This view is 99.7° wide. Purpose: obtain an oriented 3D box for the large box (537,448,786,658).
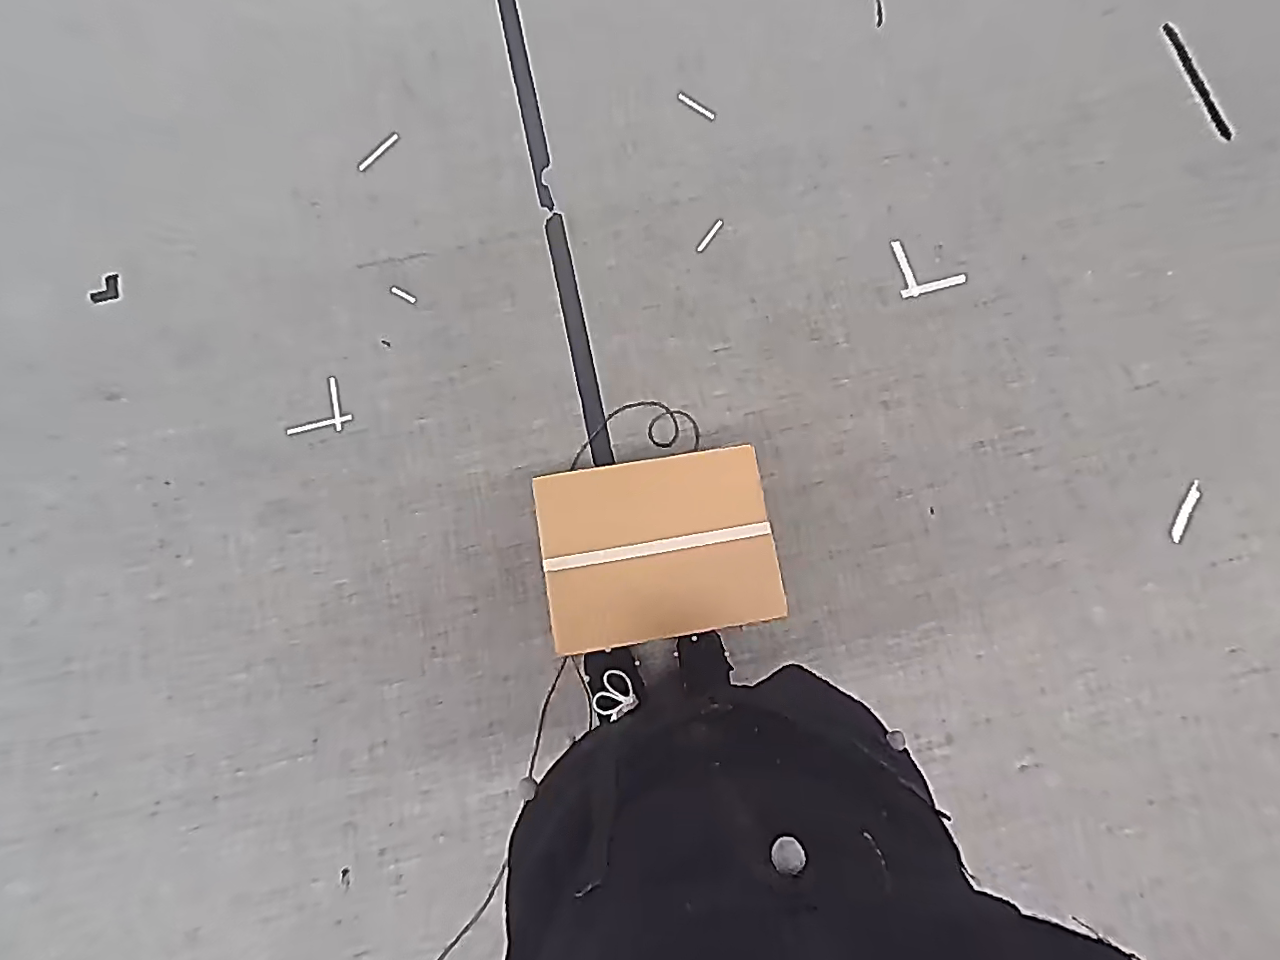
[{"bbox_3d":[0.032,0.146,1.097,0.408,0.320,0.320,-9,79,-3],"label":"large box"}]
